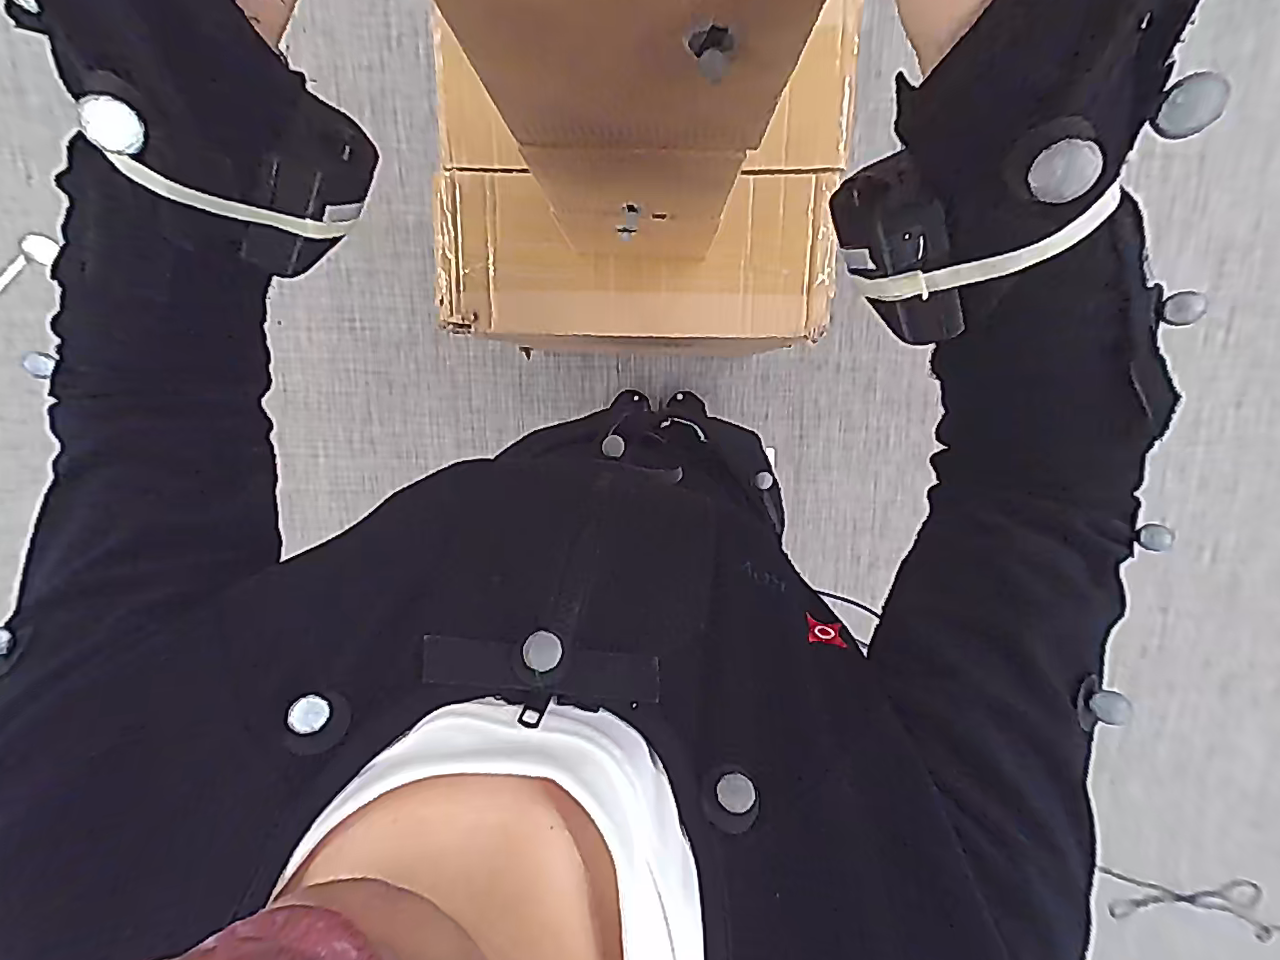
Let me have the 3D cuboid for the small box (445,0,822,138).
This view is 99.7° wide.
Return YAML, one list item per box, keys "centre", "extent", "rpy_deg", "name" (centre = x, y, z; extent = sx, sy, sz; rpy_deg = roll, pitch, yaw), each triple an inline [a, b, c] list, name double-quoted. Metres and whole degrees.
- centre: [0.000, -0.306, 0.286]
  extent: [0.179, 0.176, 0.168]
  rpy_deg: [2, 100, 1]
  name: "small box"

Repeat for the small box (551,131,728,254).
- centre: [0.003, -0.362, 0.610]
  extent: [0.179, 0.176, 0.168]
  rpy_deg: [3, 100, 1]
  name: "small box"
